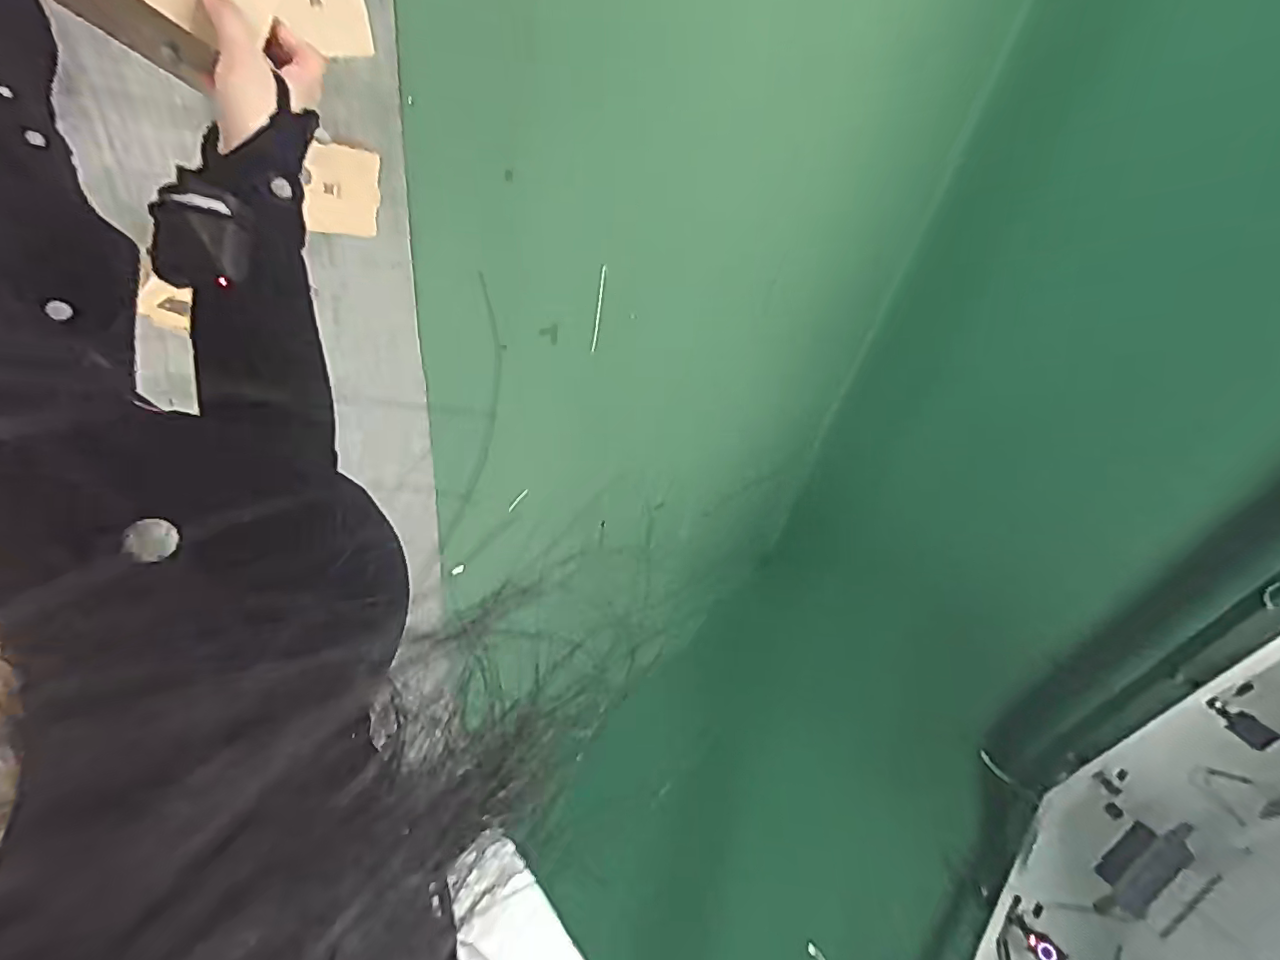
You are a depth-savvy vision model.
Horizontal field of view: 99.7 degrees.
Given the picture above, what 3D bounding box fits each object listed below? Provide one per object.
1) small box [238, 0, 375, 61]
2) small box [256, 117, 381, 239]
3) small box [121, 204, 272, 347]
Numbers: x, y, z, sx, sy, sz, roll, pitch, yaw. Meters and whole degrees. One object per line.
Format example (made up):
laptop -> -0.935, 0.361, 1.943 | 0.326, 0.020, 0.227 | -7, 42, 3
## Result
small box -> -0.593, -0.851, 0.938 | 0.168, 0.176, 0.179 | -29, 143, -32
small box -> -0.658, -0.616, 1.107 | 0.179, 0.176, 0.168 | -14, 135, -44
small box -> -0.875, -0.401, 1.064 | 0.179, 0.176, 0.168 | -54, 149, 5
